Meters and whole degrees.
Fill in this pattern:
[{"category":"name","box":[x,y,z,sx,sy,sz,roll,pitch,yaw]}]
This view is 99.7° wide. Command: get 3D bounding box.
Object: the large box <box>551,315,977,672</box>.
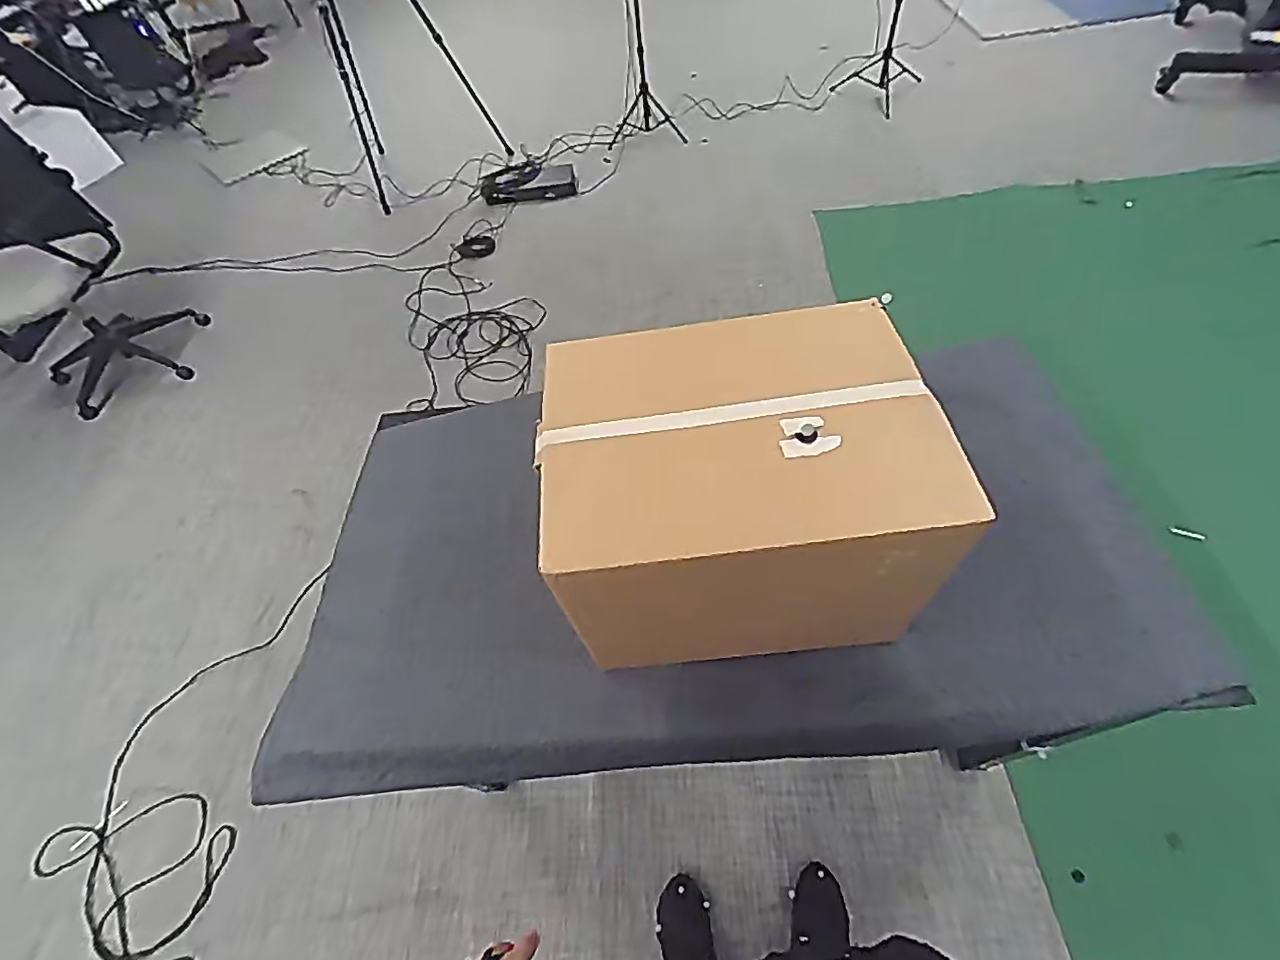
[{"category":"large box","box":[0.114,0.031,0.703,0.408,0.320,0.320,-7,55,2]}]
